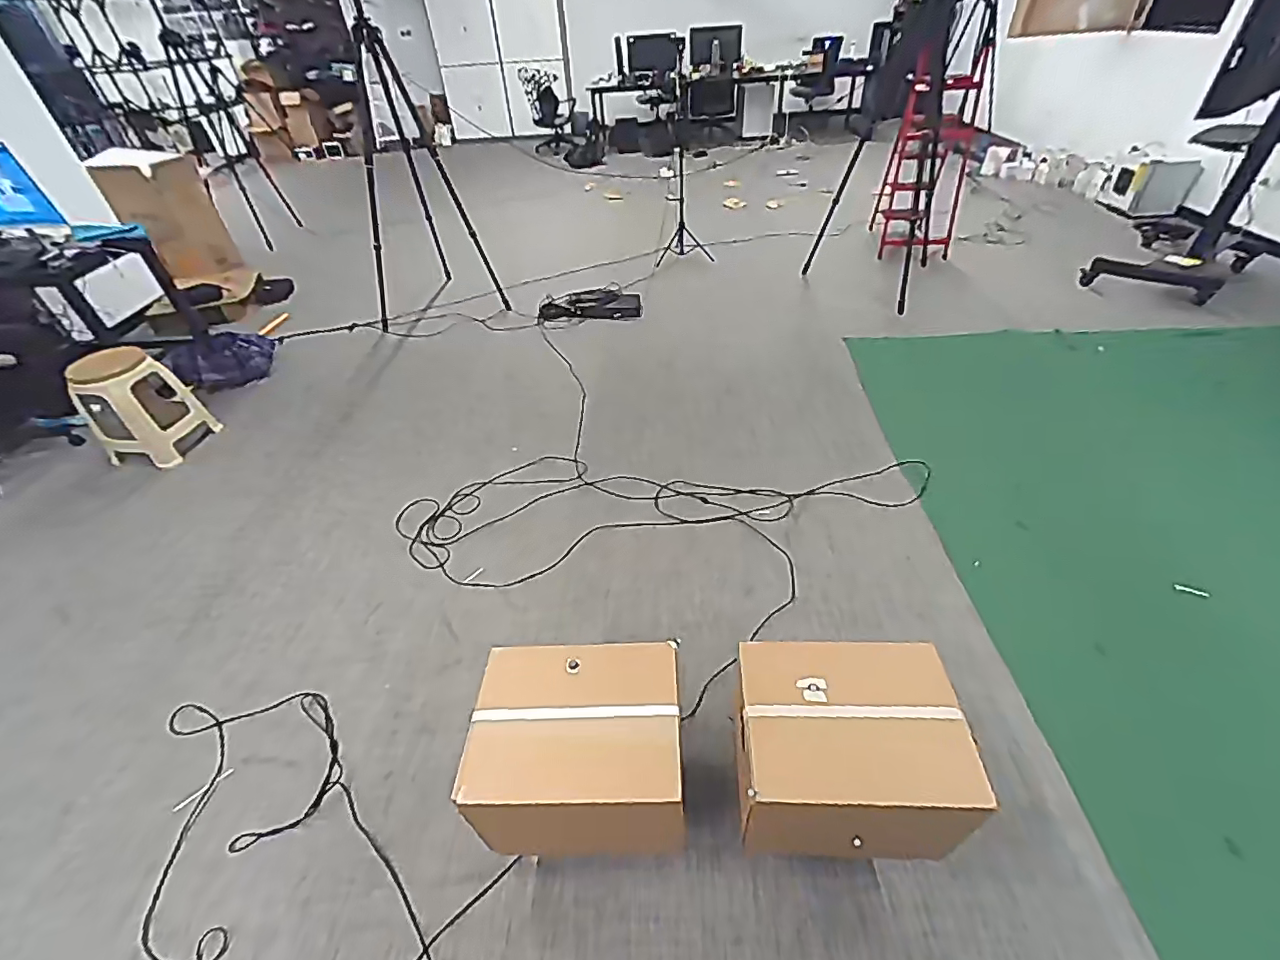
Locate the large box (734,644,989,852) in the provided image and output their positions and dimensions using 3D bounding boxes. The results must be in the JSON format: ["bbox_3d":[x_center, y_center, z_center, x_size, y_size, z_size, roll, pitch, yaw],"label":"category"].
[{"bbox_3d":[0.416,0.564,1.139,0.408,0.320,0.320,-1,41,5],"label":"large box"}]
